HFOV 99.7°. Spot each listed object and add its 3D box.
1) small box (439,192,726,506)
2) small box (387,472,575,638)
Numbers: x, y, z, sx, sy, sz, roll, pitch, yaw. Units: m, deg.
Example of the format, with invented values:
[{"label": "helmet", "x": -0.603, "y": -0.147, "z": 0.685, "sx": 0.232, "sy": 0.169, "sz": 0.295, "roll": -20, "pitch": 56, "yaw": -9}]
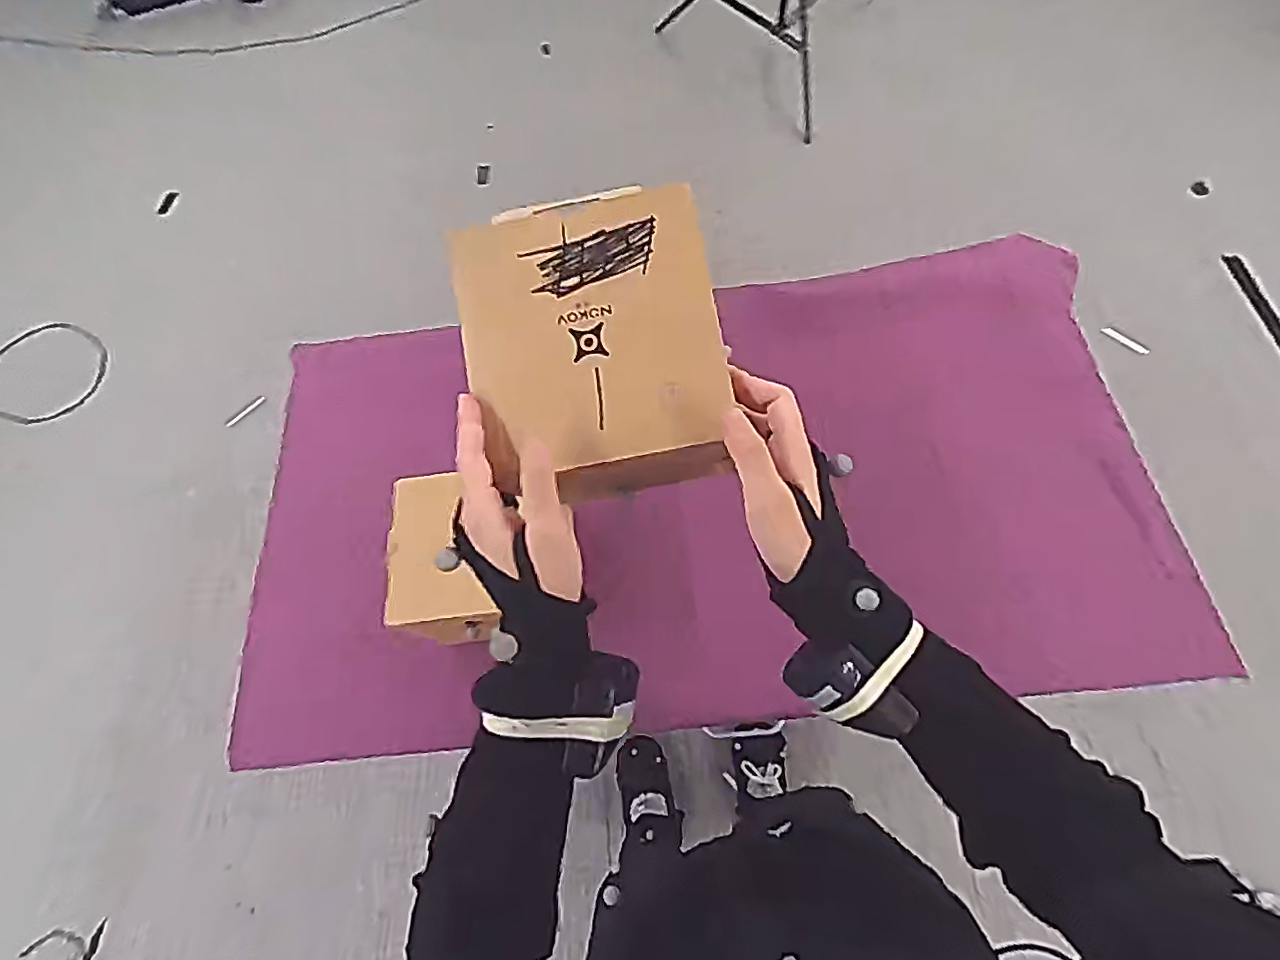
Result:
[{"label": "small box", "x": -0.036, "y": -0.082, "z": 0.425, "sx": 0.168, "sy": 0.176, "sz": 0.179, "roll": -11, "pitch": 83, "yaw": 3}, {"label": "small box", "x": -0.178, "y": 0.094, "z": 0.660, "sx": 0.179, "sy": 0.176, "sz": 0.168, "roll": -8, "pitch": 67, "yaw": 3}]
